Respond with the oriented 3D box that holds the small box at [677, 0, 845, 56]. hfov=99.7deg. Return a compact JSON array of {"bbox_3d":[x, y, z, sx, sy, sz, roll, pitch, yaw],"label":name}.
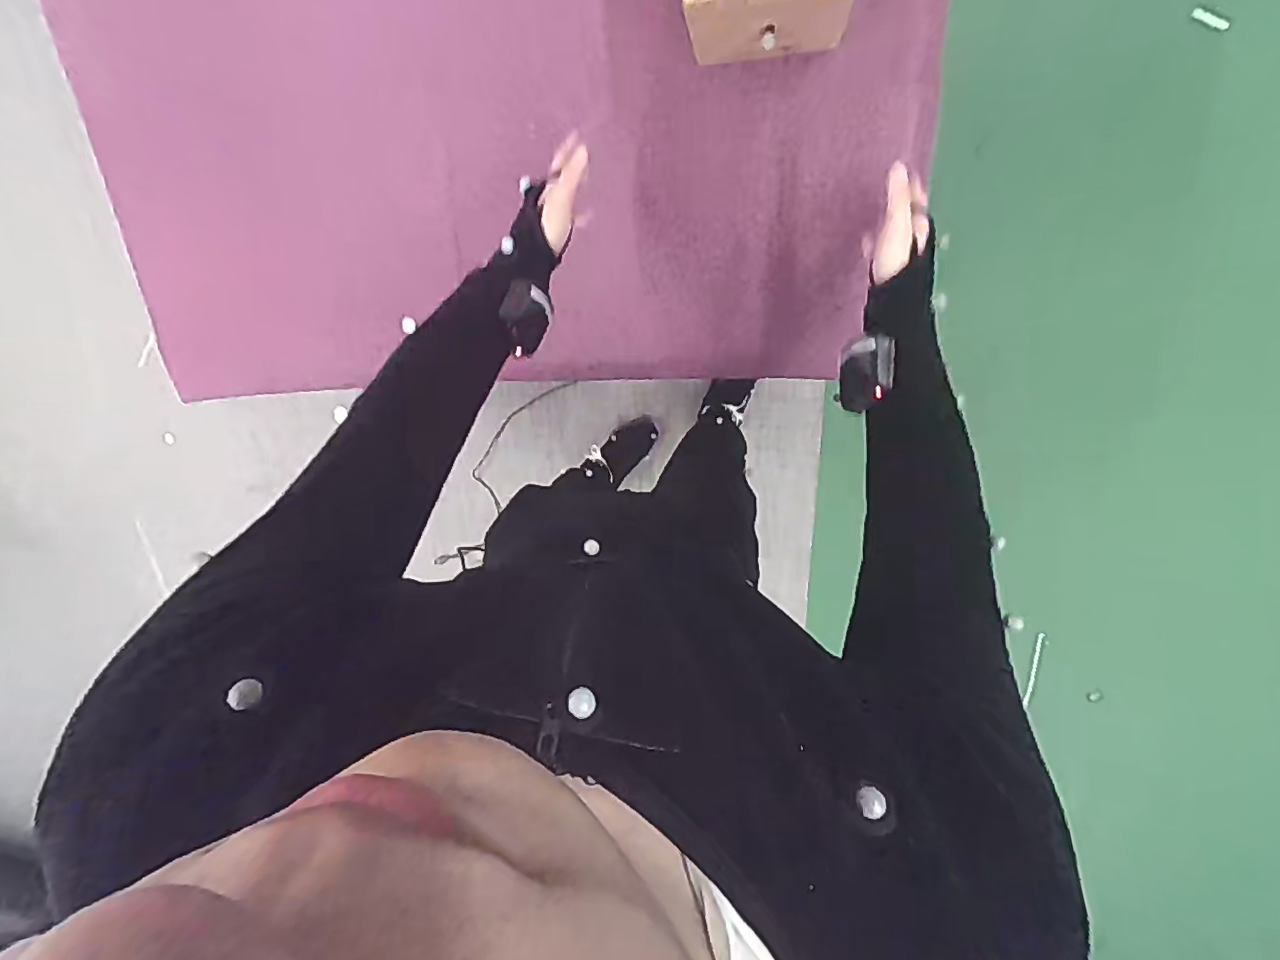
[{"bbox_3d":[0.126,-0.560,0.543,0.168,0.176,0.179,0,110,12],"label":"small box"}]
